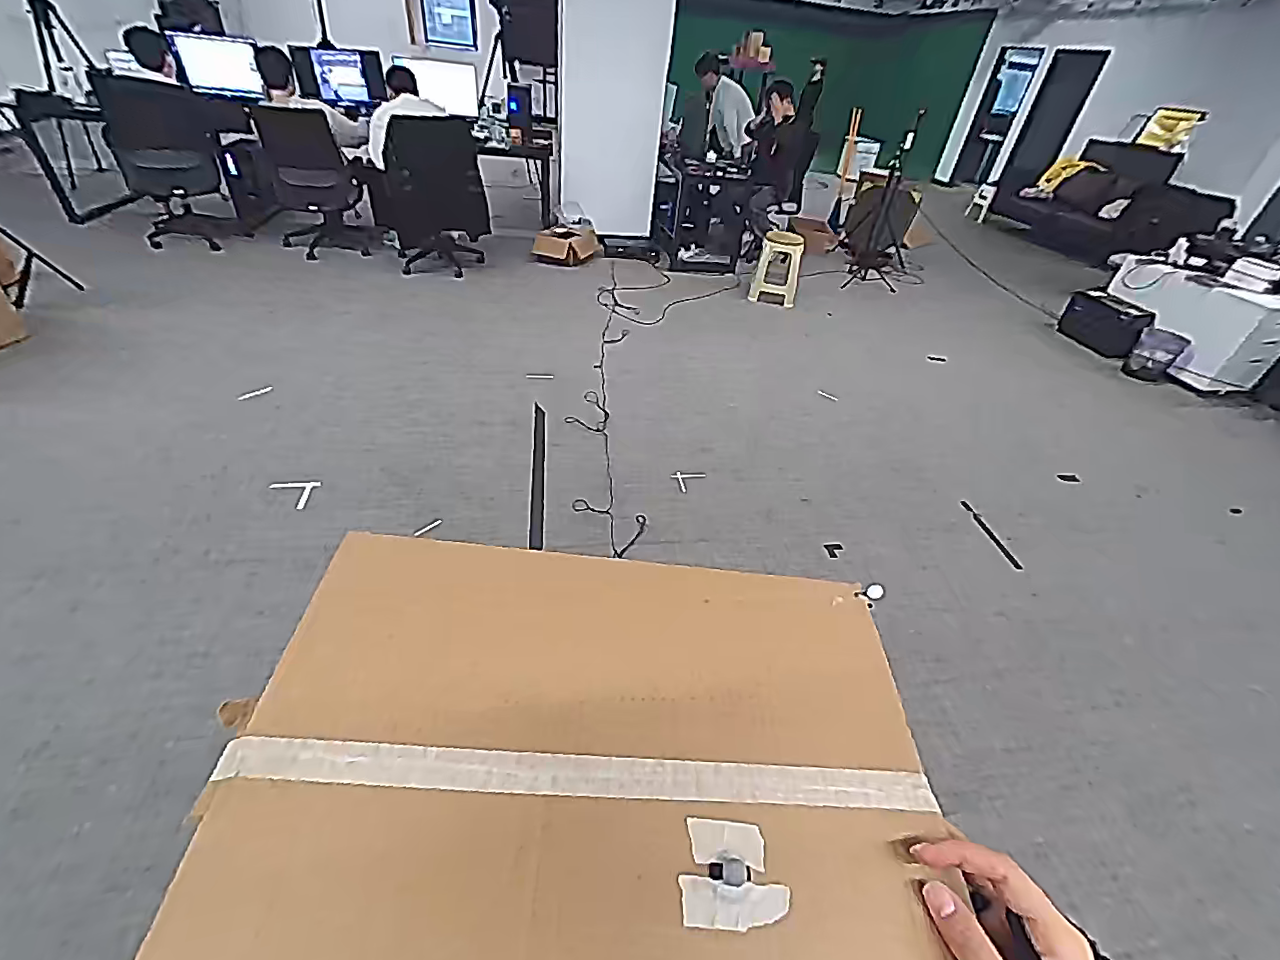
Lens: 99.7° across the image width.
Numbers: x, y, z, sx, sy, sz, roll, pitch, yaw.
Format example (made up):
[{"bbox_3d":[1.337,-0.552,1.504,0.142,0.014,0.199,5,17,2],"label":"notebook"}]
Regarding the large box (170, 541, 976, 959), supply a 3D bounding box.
[{"bbox_3d":[-0.042,0.280,0.427,0.408,0.320,0.320,8,46,-7],"label":"large box"}]
